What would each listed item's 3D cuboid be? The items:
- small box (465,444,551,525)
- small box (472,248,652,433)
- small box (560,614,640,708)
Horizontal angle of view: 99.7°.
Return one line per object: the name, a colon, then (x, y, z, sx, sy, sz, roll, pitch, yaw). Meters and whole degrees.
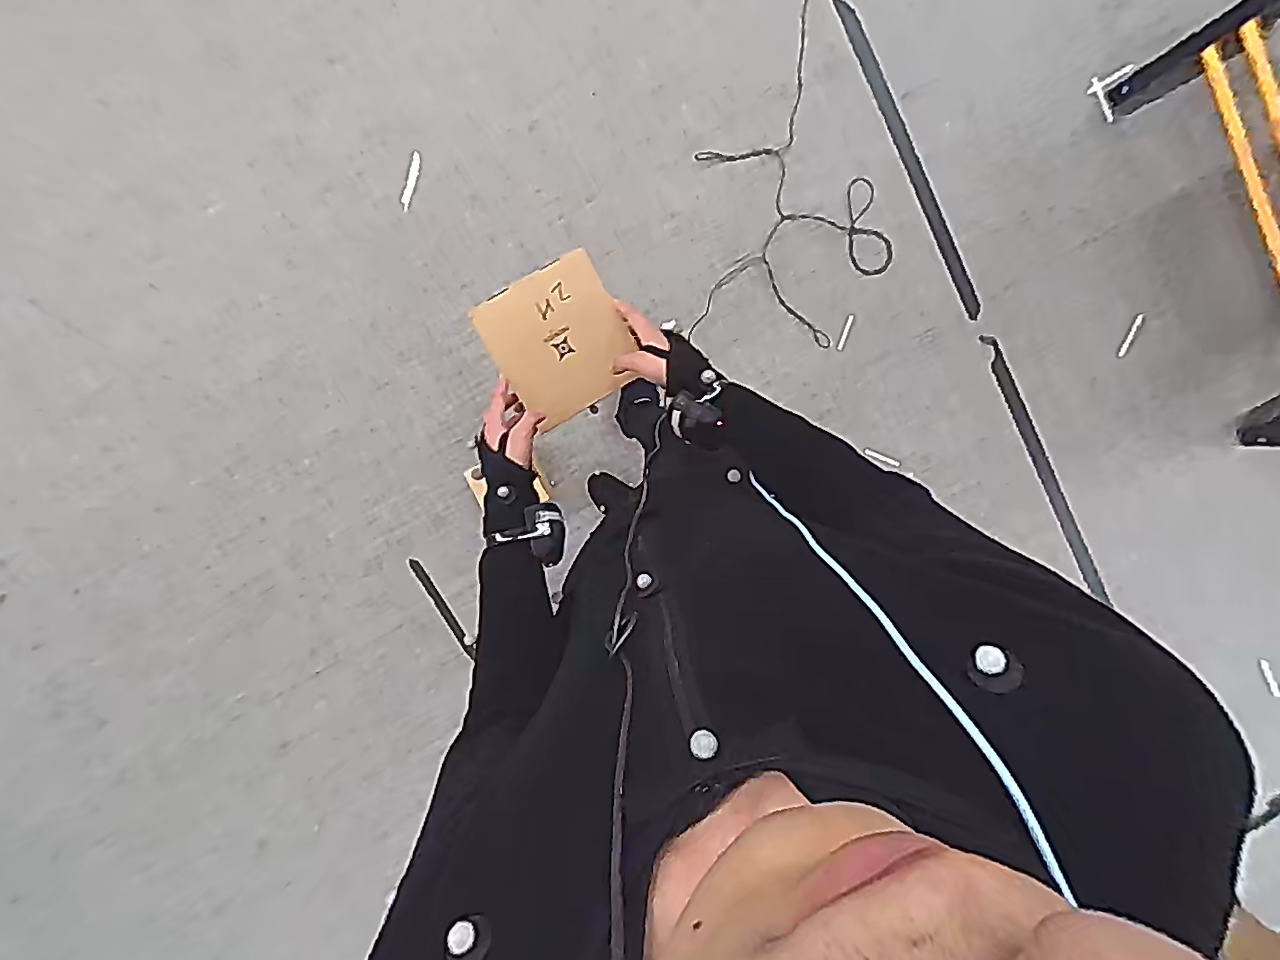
small box: (-0.359, 0.005, 1.514, 0.179, 0.176, 0.168, -26, 96, 0)
small box: (-0.102, -0.183, 0.748, 0.168, 0.176, 0.179, -30, 100, -2)
small box: (-0.117, 0.520, 1.583, 0.179, 0.176, 0.168, -27, 97, 0)
